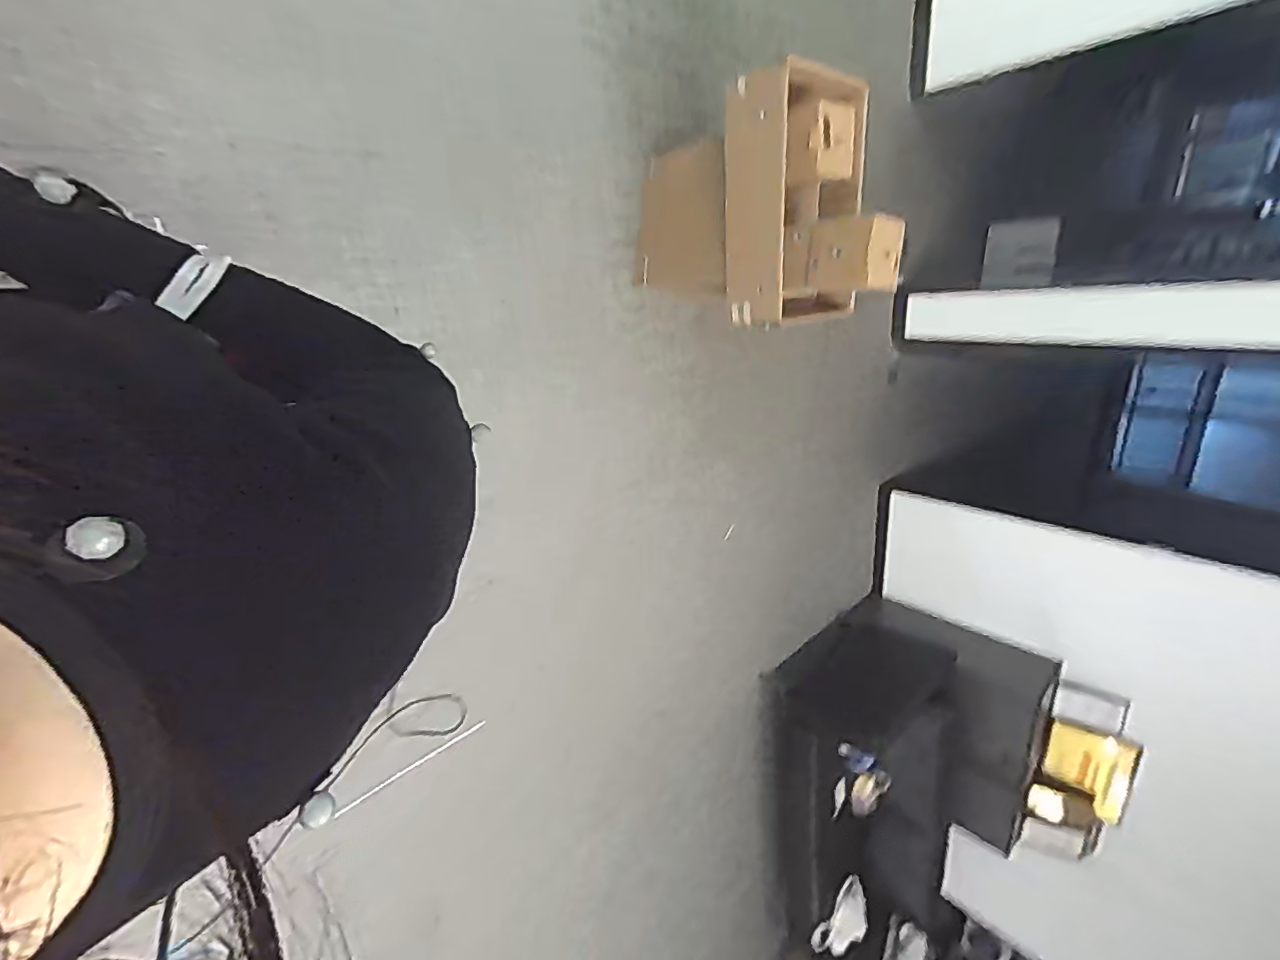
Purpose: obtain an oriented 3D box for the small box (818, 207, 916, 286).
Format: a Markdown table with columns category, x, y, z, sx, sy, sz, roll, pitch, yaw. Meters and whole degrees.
| category | x | y | z | sx | sy | sz | roll | pitch | yaw |
| --- | --- | --- | --- | --- | --- | --- | --- | --- | --- |
| small box | 0.587 | -0.601 | 1.413 | 0.179 | 0.176 | 0.168 | -12 | 111 | -38 |
